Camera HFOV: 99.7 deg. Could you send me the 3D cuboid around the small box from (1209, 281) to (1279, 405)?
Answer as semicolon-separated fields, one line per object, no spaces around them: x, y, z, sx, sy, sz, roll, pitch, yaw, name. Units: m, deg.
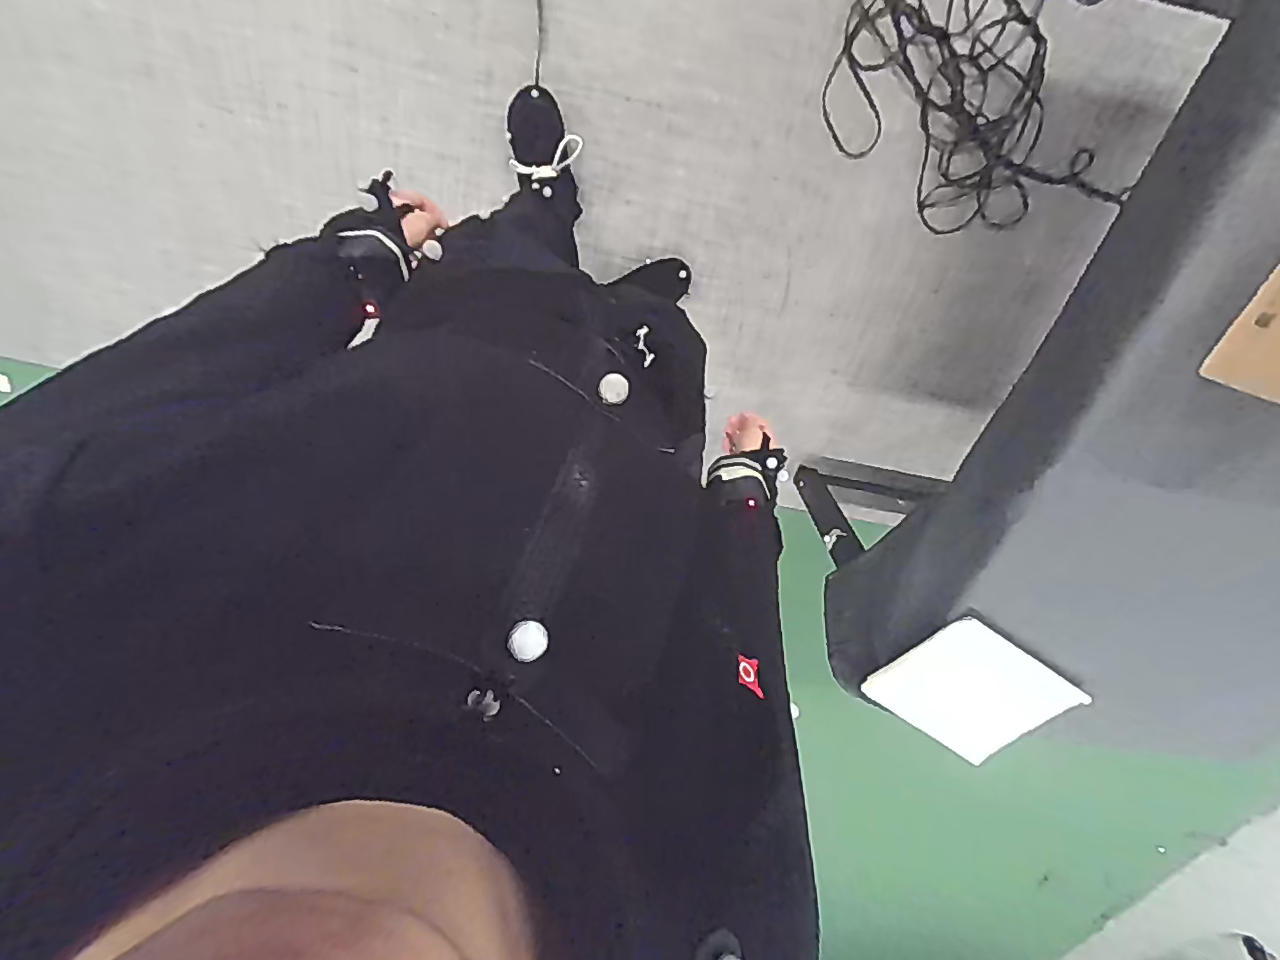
0.684;-0.121;0.468;0.179;0.176;0.168;12;118;-7;small box
